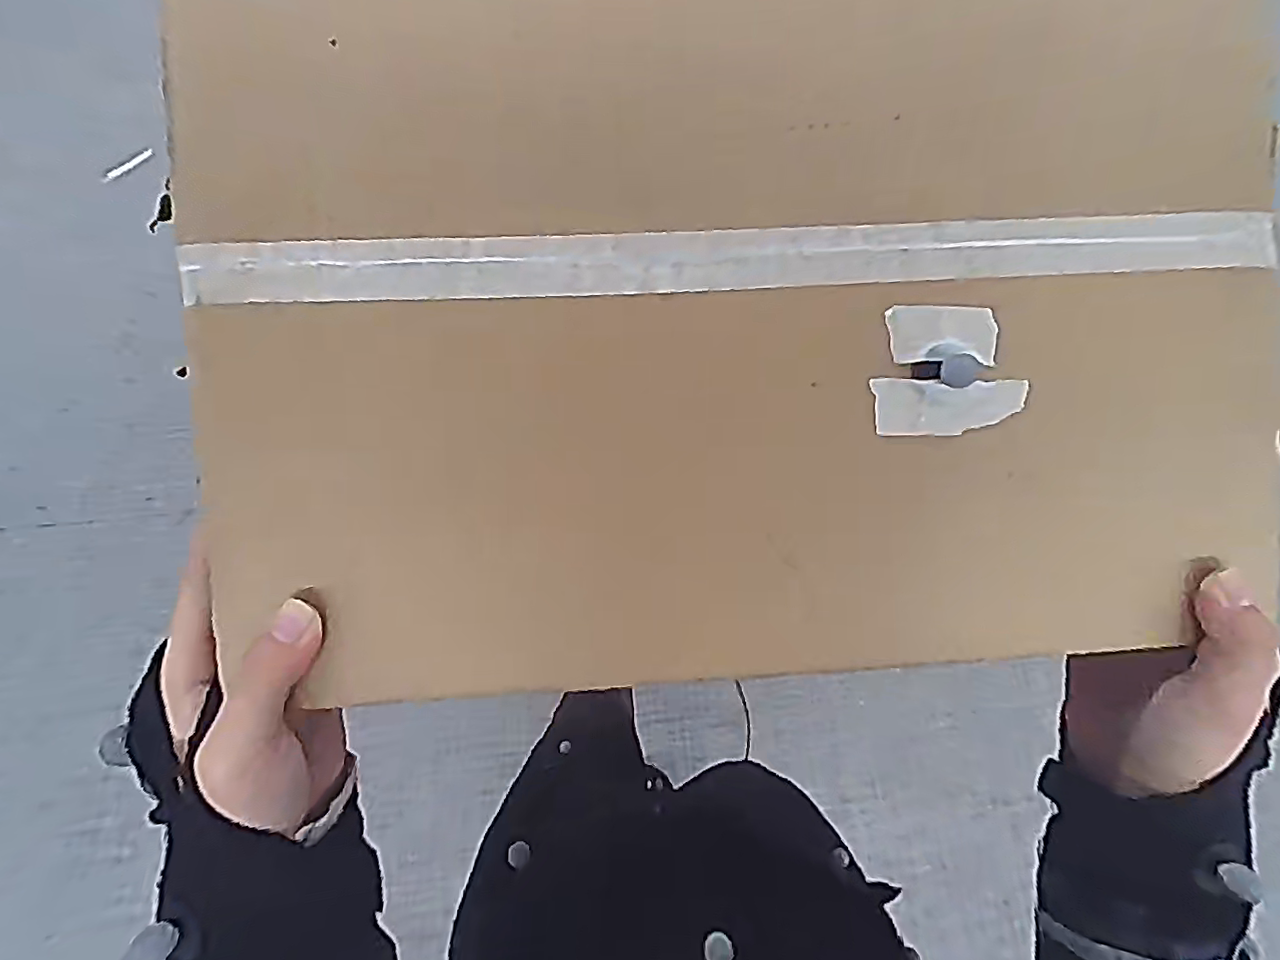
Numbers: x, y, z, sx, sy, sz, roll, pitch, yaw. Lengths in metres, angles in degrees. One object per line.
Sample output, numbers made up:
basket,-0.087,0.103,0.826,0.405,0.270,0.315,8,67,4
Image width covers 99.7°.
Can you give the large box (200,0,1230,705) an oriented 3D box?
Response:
large box,0.031,-0.083,0.362,0.408,0.320,0.320,-4,92,-4
